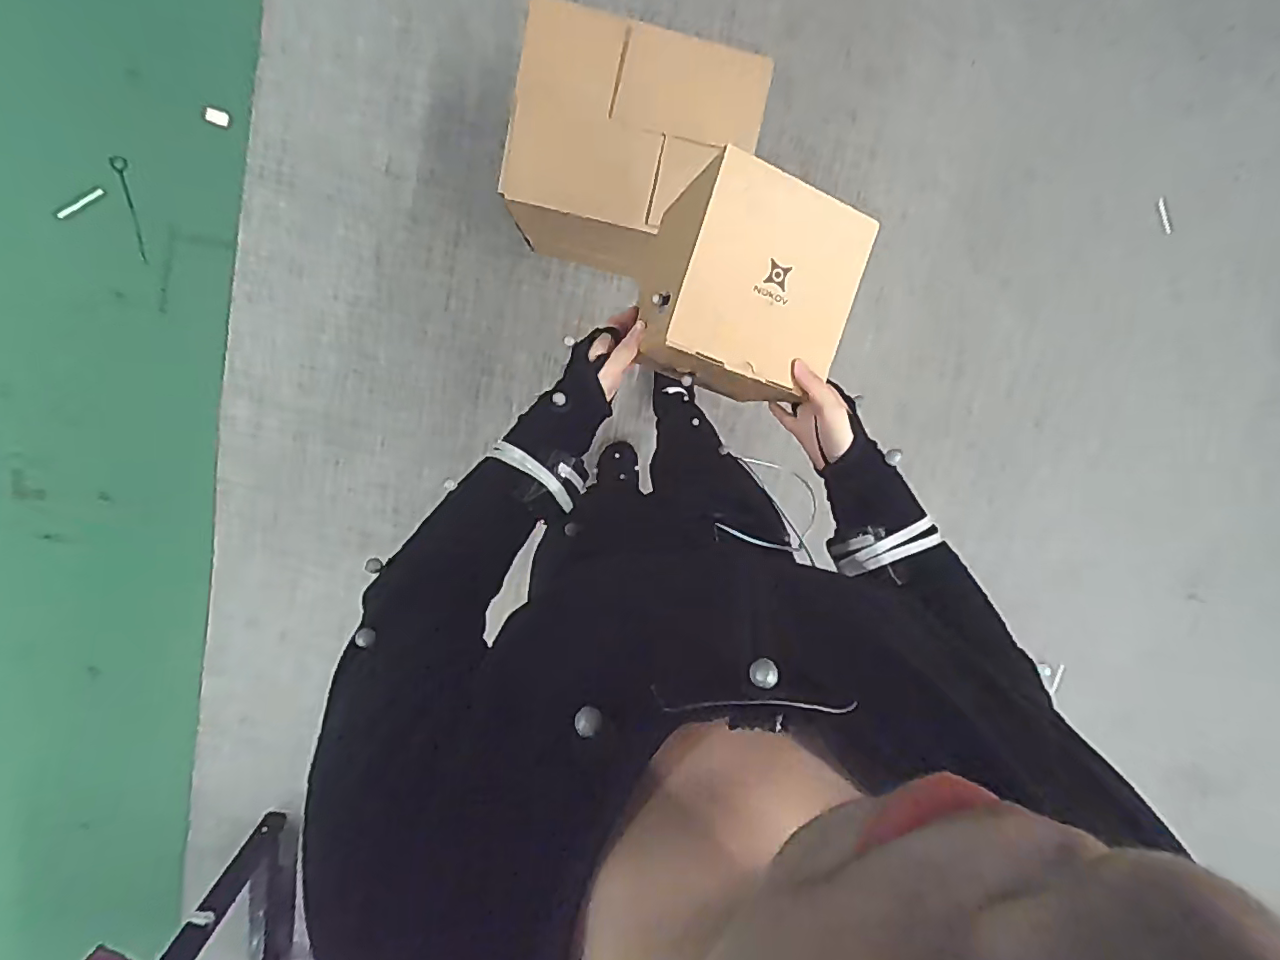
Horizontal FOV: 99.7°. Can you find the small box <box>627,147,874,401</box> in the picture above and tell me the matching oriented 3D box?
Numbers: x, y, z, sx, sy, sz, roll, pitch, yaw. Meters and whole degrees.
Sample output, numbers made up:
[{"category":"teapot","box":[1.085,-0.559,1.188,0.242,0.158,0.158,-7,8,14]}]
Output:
[{"category":"small box","box":[0.098,-0.192,0.561,0.168,0.176,0.179,16,95,-17]}]
